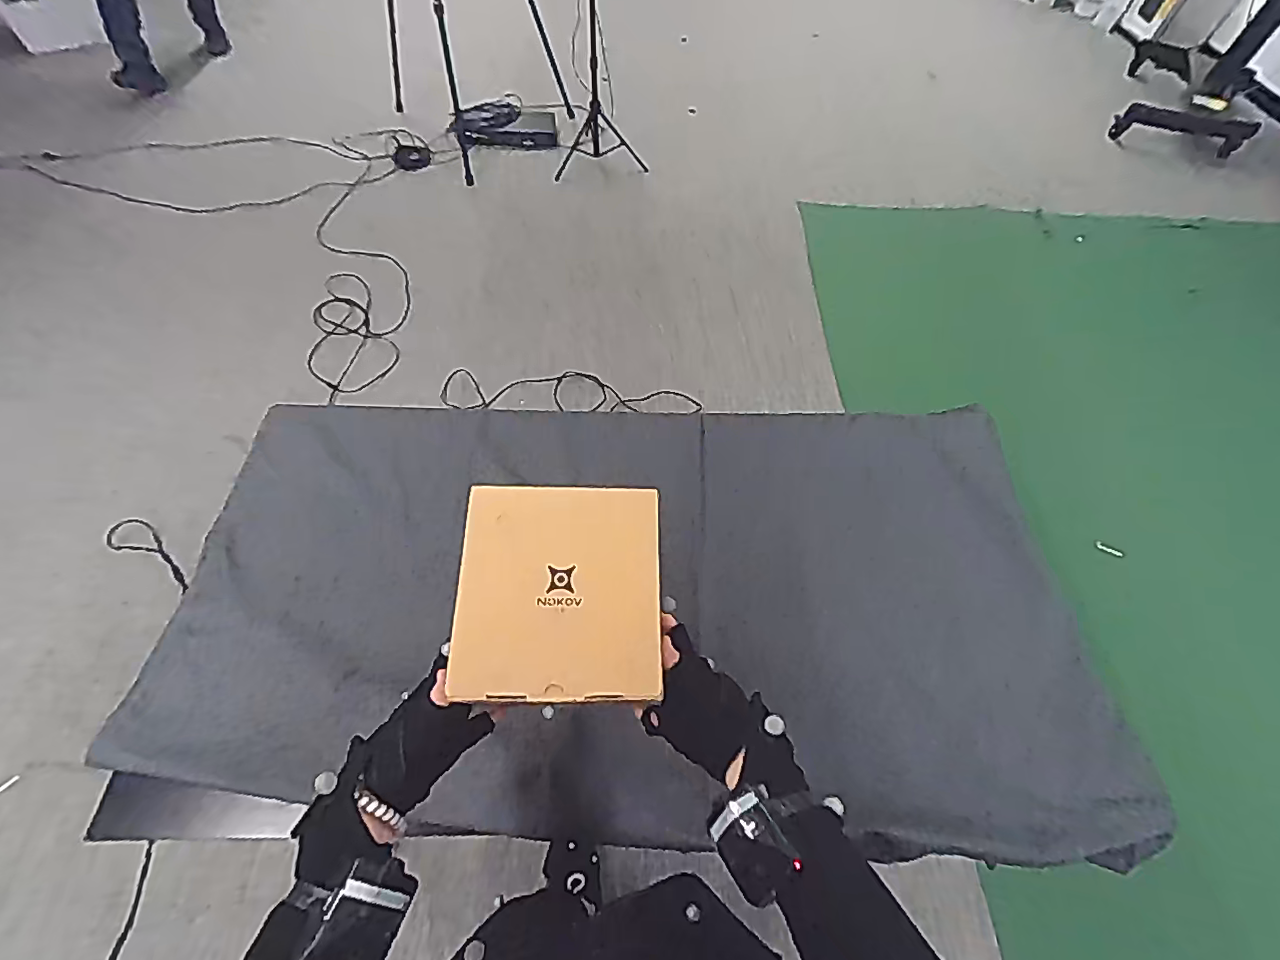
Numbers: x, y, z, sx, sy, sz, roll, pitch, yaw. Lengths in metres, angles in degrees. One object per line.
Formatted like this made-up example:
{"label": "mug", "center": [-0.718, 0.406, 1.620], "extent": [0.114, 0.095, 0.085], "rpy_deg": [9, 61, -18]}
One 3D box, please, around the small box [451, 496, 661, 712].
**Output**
{"label": "small box", "center": [-0.070, 0.129, 0.526], "extent": [0.168, 0.176, 0.179], "rpy_deg": [2, 67, -4]}
